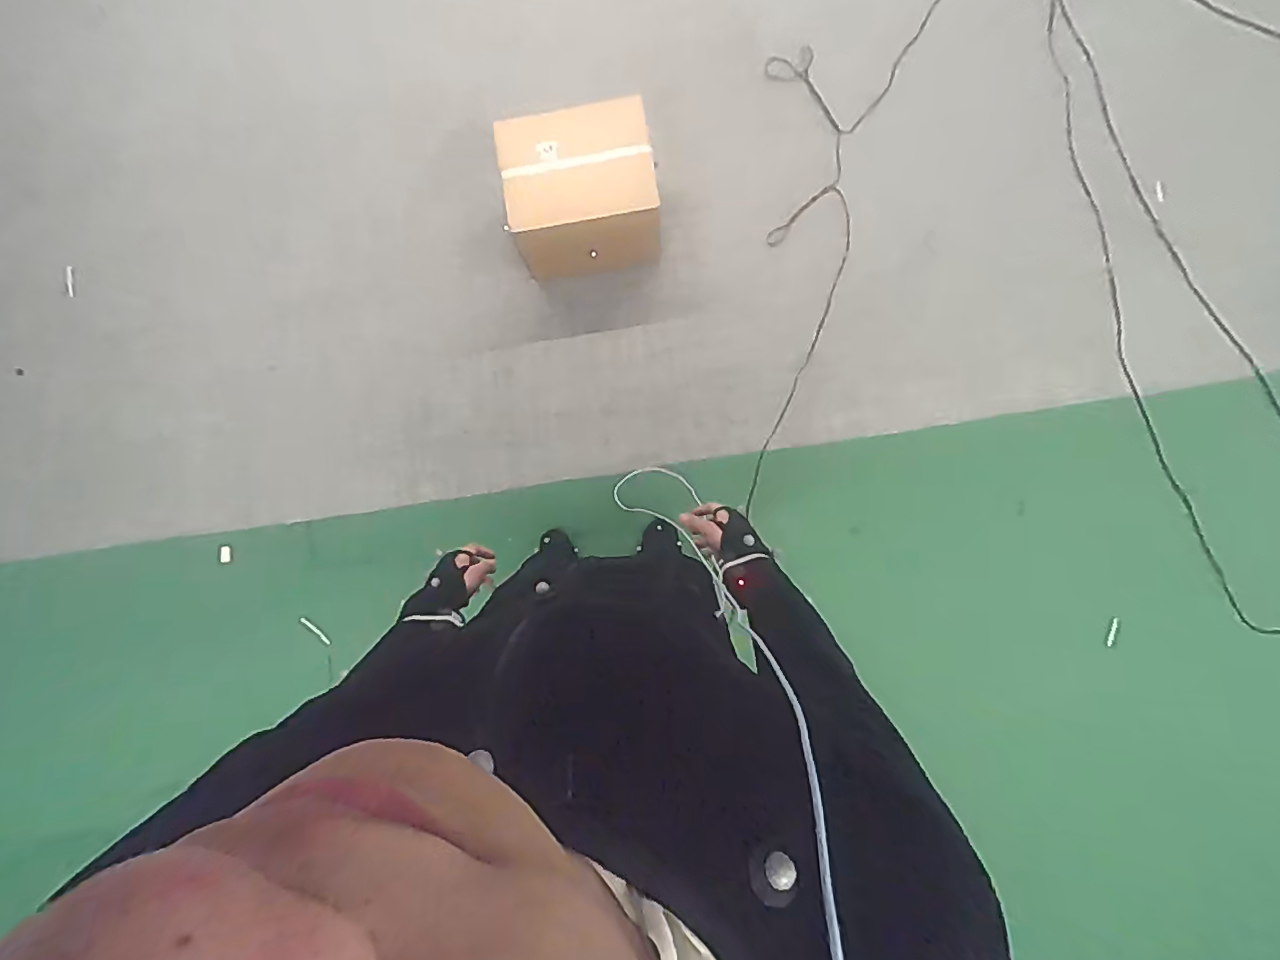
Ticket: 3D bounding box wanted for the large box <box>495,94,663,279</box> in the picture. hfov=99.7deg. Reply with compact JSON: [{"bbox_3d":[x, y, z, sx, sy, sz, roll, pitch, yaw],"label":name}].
[{"bbox_3d":[-0.157,-0.827,1.572,0.408,0.320,0.320,-10,86,2],"label":"large box"}]
